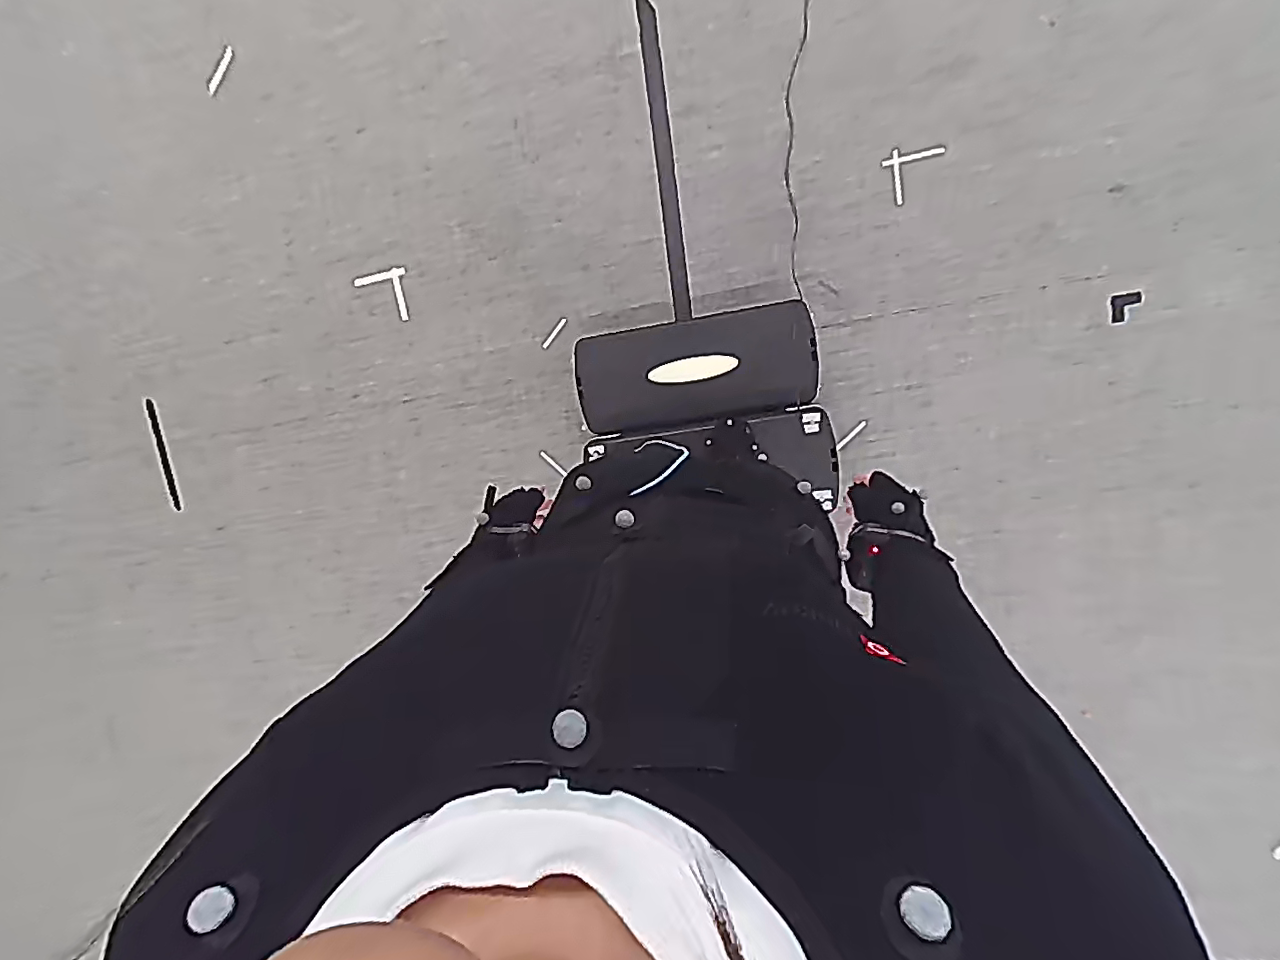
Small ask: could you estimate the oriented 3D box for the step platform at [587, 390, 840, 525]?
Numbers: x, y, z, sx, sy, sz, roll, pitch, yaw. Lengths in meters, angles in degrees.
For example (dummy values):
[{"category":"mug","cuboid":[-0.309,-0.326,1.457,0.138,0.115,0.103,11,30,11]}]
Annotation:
[{"category":"step platform","cuboid":[0.196,-0.058,1.510,0.684,0.204,0.286,-9,96,11]}]
